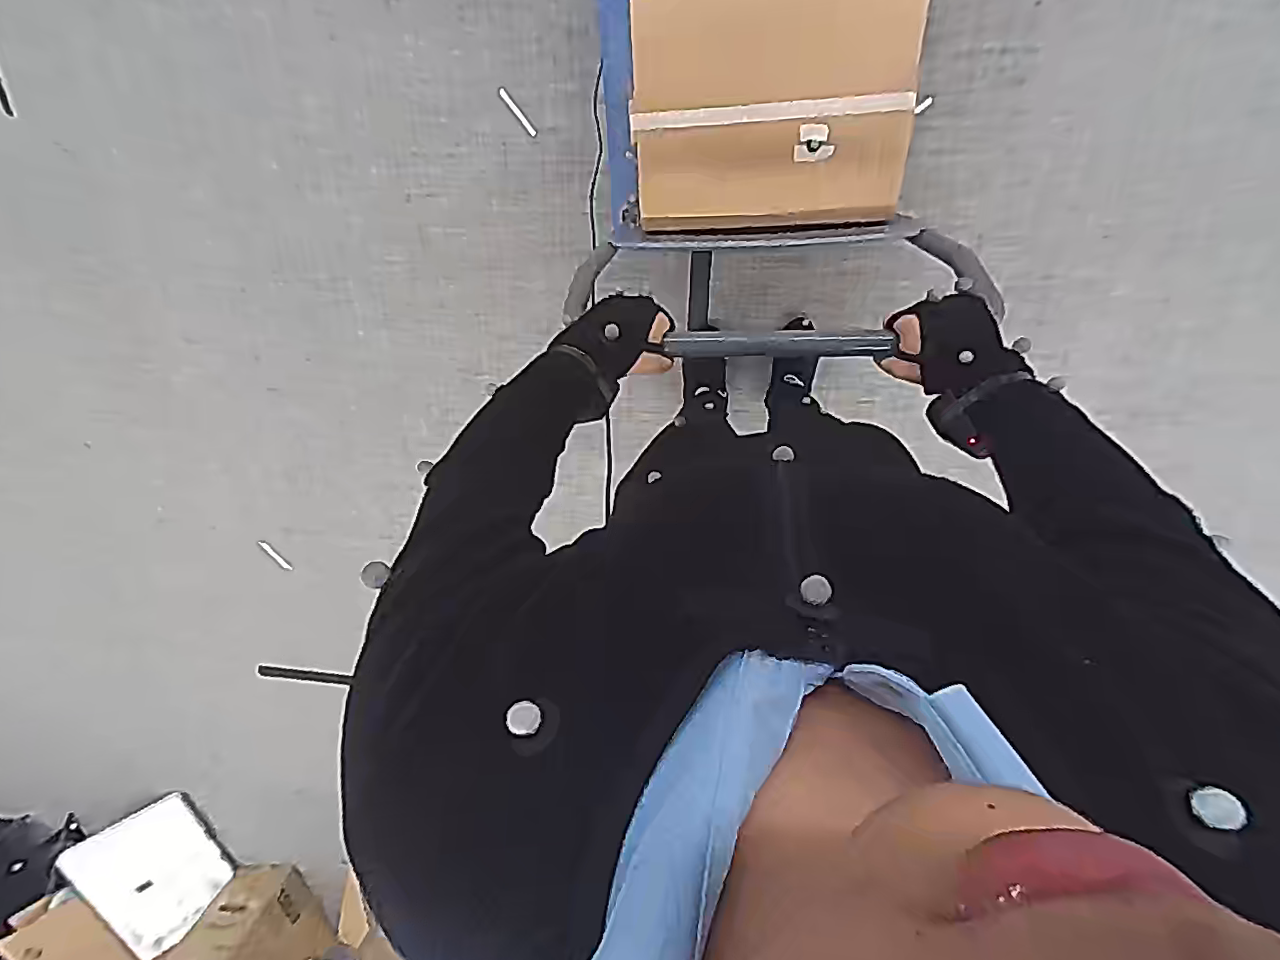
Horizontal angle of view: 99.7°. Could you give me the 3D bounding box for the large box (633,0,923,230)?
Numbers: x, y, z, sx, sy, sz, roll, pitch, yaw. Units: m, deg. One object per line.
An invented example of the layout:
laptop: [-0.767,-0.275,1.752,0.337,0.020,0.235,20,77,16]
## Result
large box: [0.213,-0.630,0.943,0.408,0.320,0.320,0,120,7]
